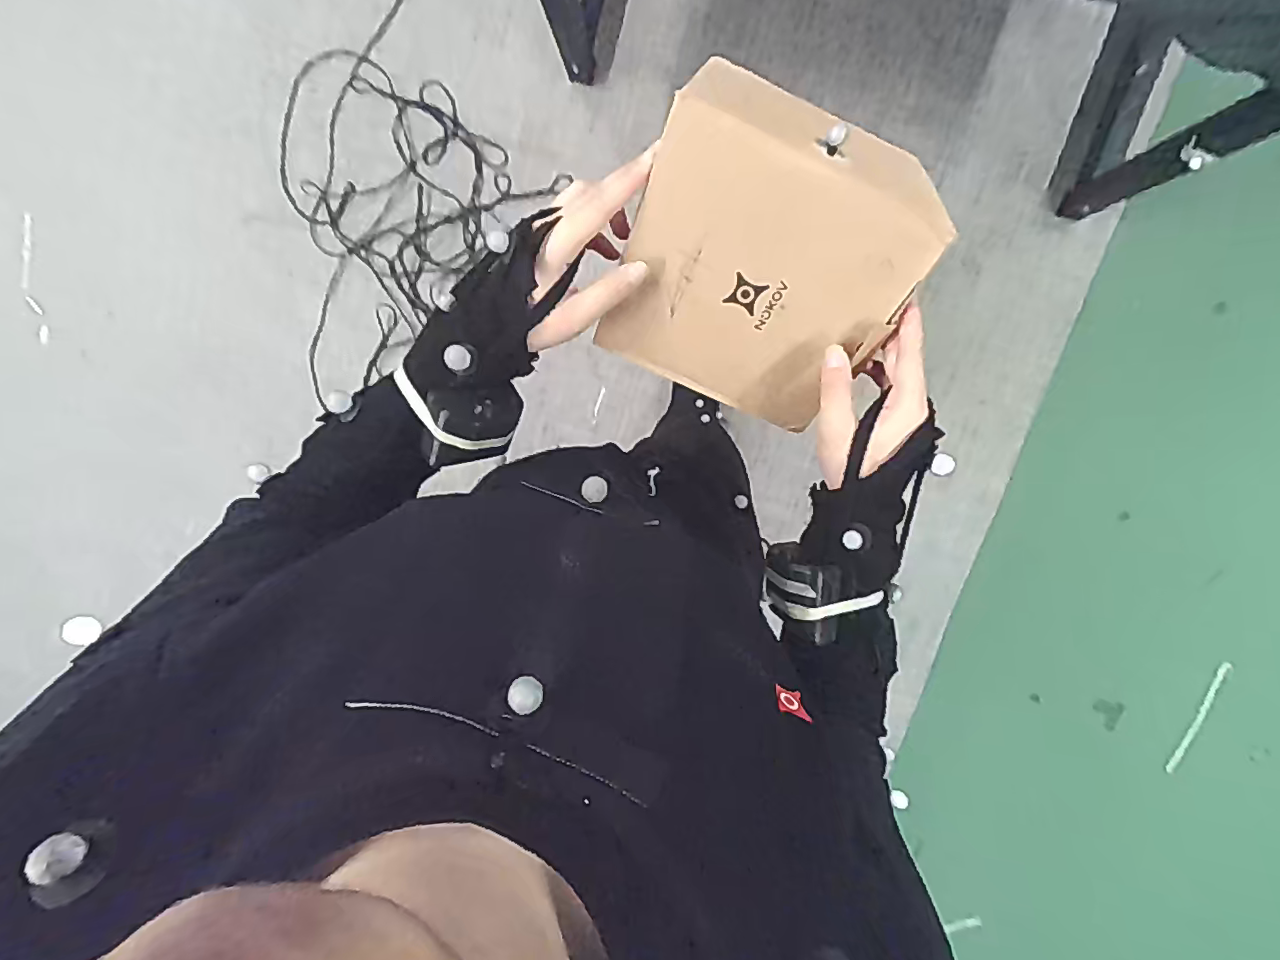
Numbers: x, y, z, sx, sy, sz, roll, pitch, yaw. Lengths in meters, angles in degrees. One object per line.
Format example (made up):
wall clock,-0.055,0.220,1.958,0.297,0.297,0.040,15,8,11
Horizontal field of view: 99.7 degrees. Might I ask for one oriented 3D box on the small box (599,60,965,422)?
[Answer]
small box,0.092,-0.179,0.402,0.179,0.176,0.168,23,133,-5
